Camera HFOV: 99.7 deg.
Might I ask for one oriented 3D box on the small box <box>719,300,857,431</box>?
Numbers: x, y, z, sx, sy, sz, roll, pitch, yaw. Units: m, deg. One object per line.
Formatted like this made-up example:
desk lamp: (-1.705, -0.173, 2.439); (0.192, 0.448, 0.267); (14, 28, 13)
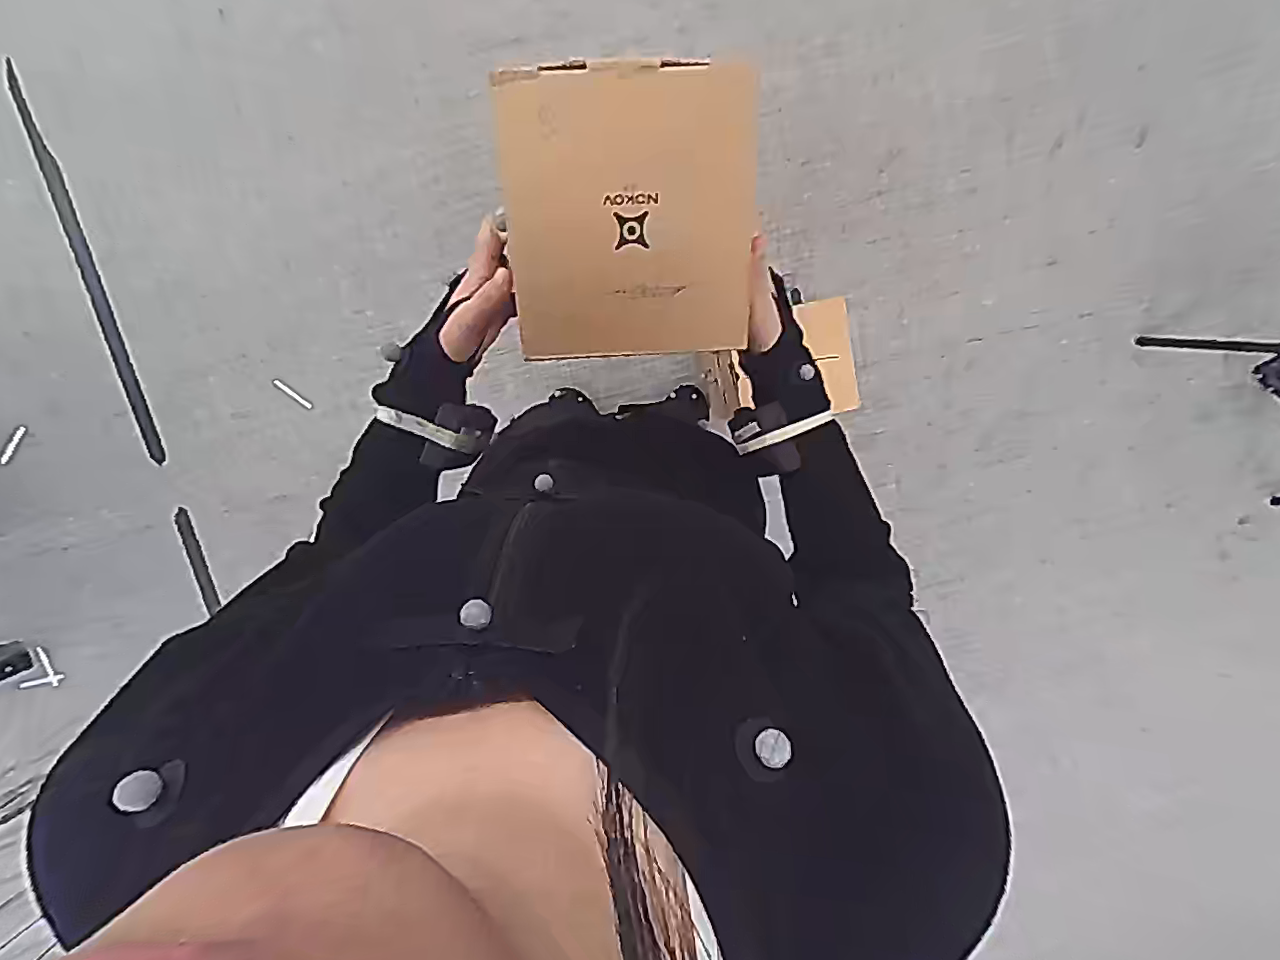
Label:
small box: (0.224, -0.177, 0.869); (0.179, 0.176, 0.168); (-11, 100, 3)

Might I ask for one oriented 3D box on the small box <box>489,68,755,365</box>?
small box: (-0.014, -0.198, 0.431); (0.168, 0.176, 0.179); (-3, 115, -3)

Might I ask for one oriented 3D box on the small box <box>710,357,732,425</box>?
small box: (0.230, -0.204, 1.032); (0.179, 0.176, 0.168); (-10, 100, 5)
